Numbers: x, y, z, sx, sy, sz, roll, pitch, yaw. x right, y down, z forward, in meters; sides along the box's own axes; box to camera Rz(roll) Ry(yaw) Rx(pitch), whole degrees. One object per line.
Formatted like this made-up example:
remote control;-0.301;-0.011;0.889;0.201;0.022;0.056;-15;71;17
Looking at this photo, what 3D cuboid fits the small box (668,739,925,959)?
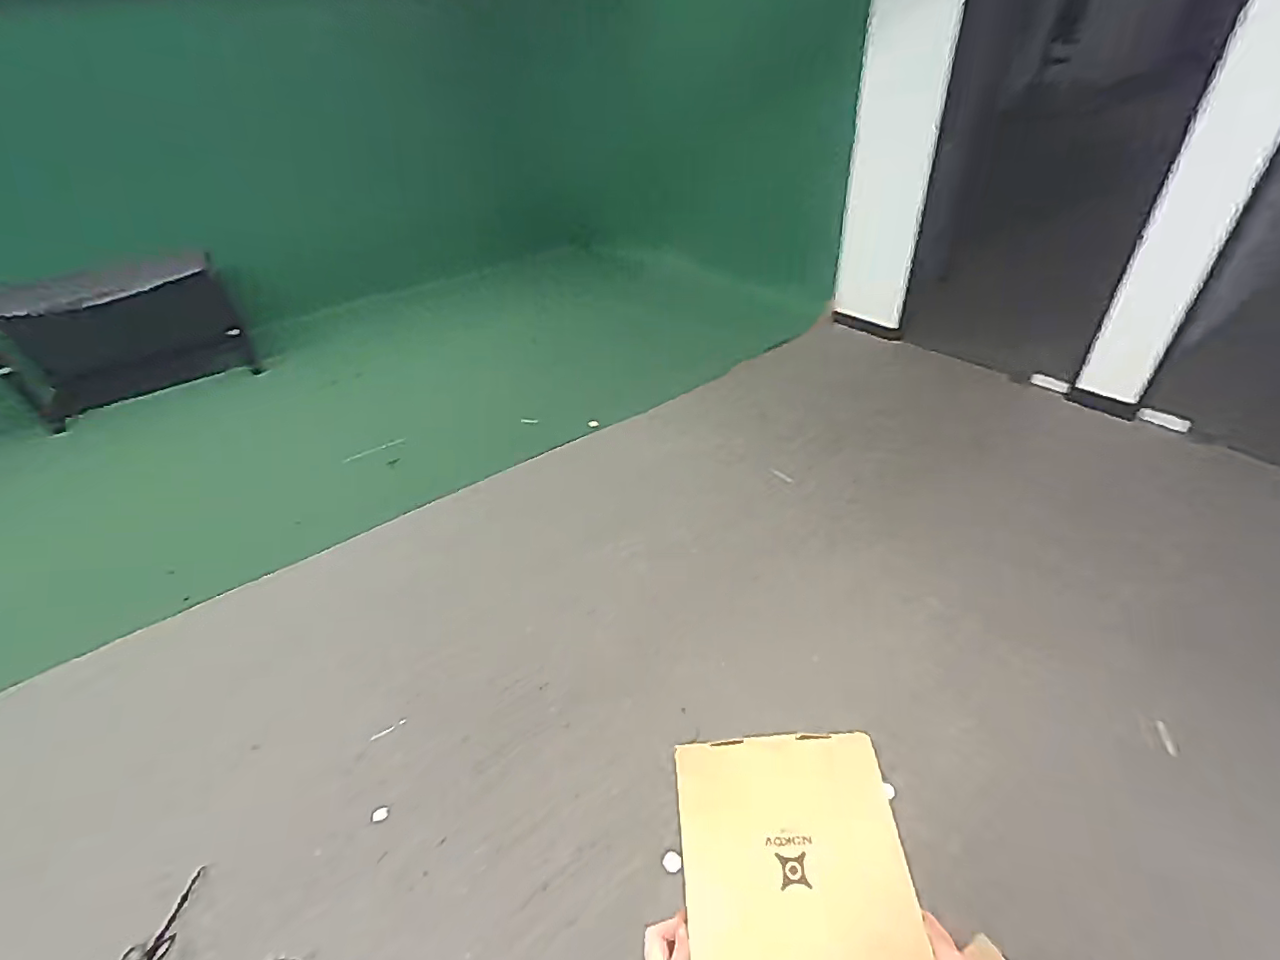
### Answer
small box;0.117;0.341;0.459;0.168;0.176;0.179;-7;48;3
